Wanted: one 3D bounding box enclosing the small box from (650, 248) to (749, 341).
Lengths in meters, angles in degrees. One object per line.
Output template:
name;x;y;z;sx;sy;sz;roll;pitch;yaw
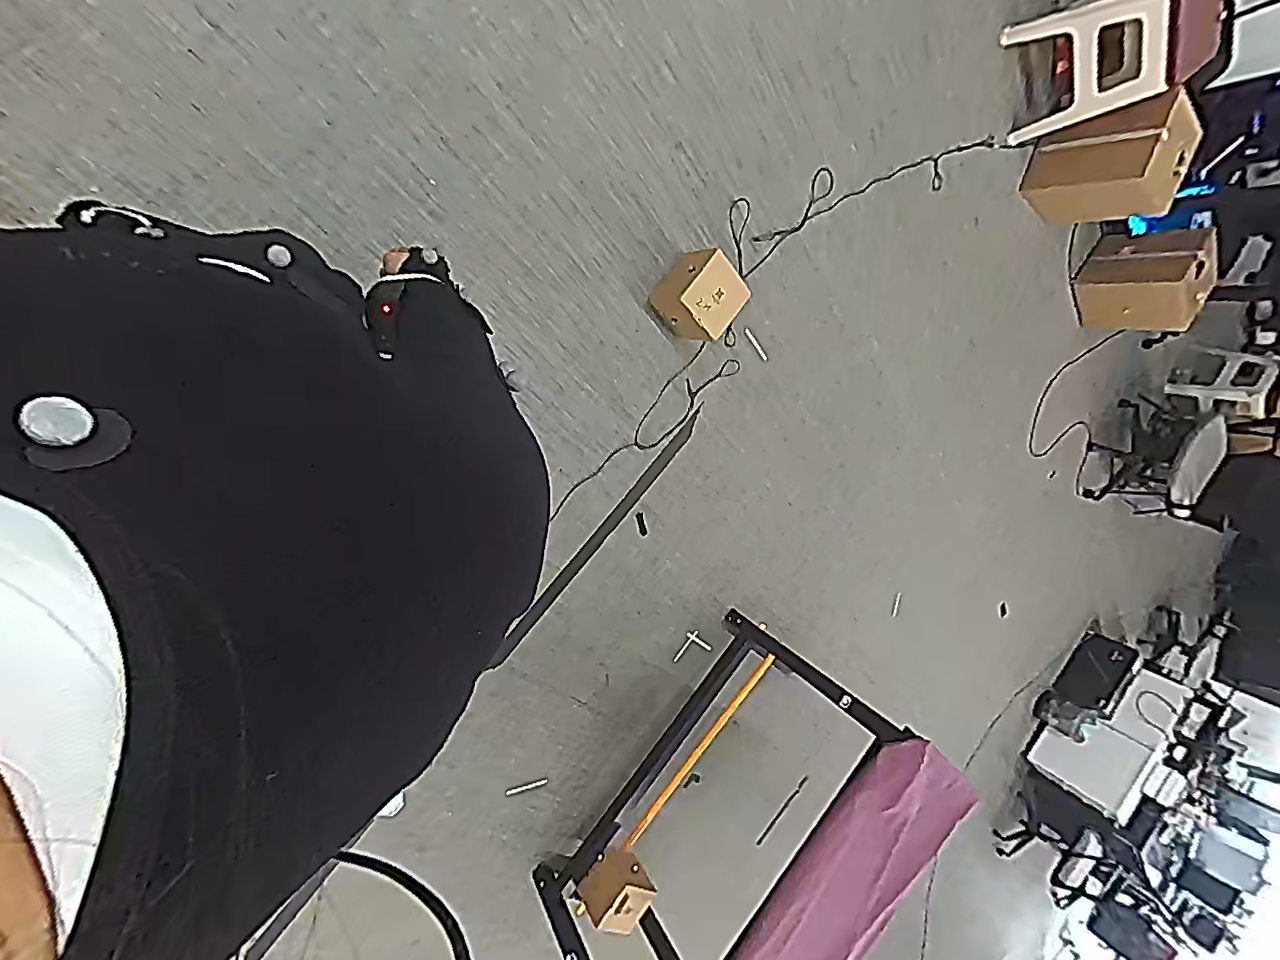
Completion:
small box;0.158;-0.508;1.487;0.168;0.176;0.179;41;83;-34

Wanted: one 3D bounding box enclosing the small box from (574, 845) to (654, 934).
small box;-0.095;1.384;1.834;0.168;0.176;0.179;-51;125;-8
